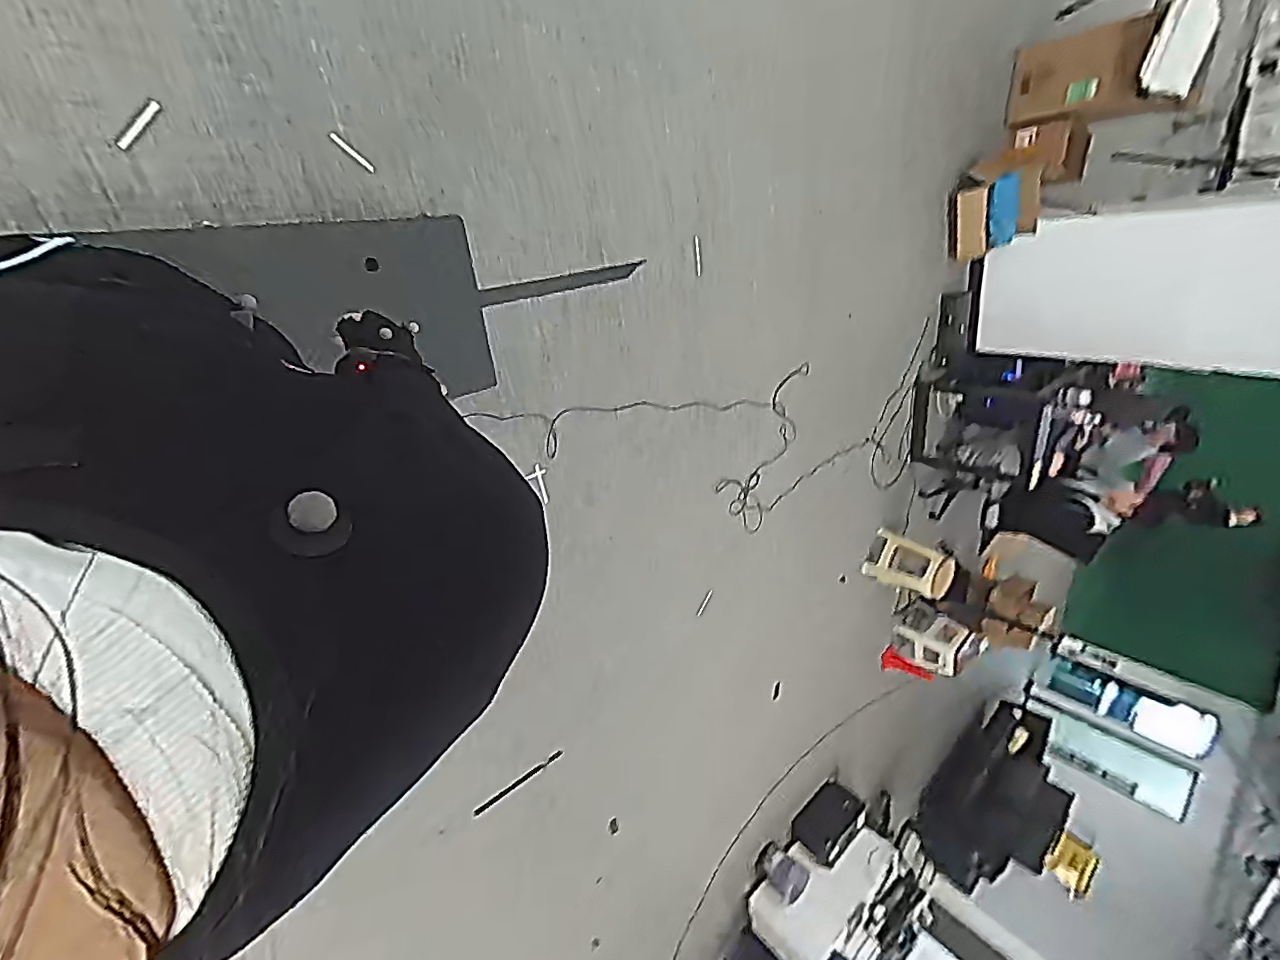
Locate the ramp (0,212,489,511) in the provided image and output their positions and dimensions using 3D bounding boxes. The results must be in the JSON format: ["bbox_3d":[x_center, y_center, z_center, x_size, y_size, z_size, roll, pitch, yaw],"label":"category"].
[{"bbox_3d":[-0.820,-0.346,1.272,0.991,0.206,0.509,-26,119,-33],"label":"ramp"}]
